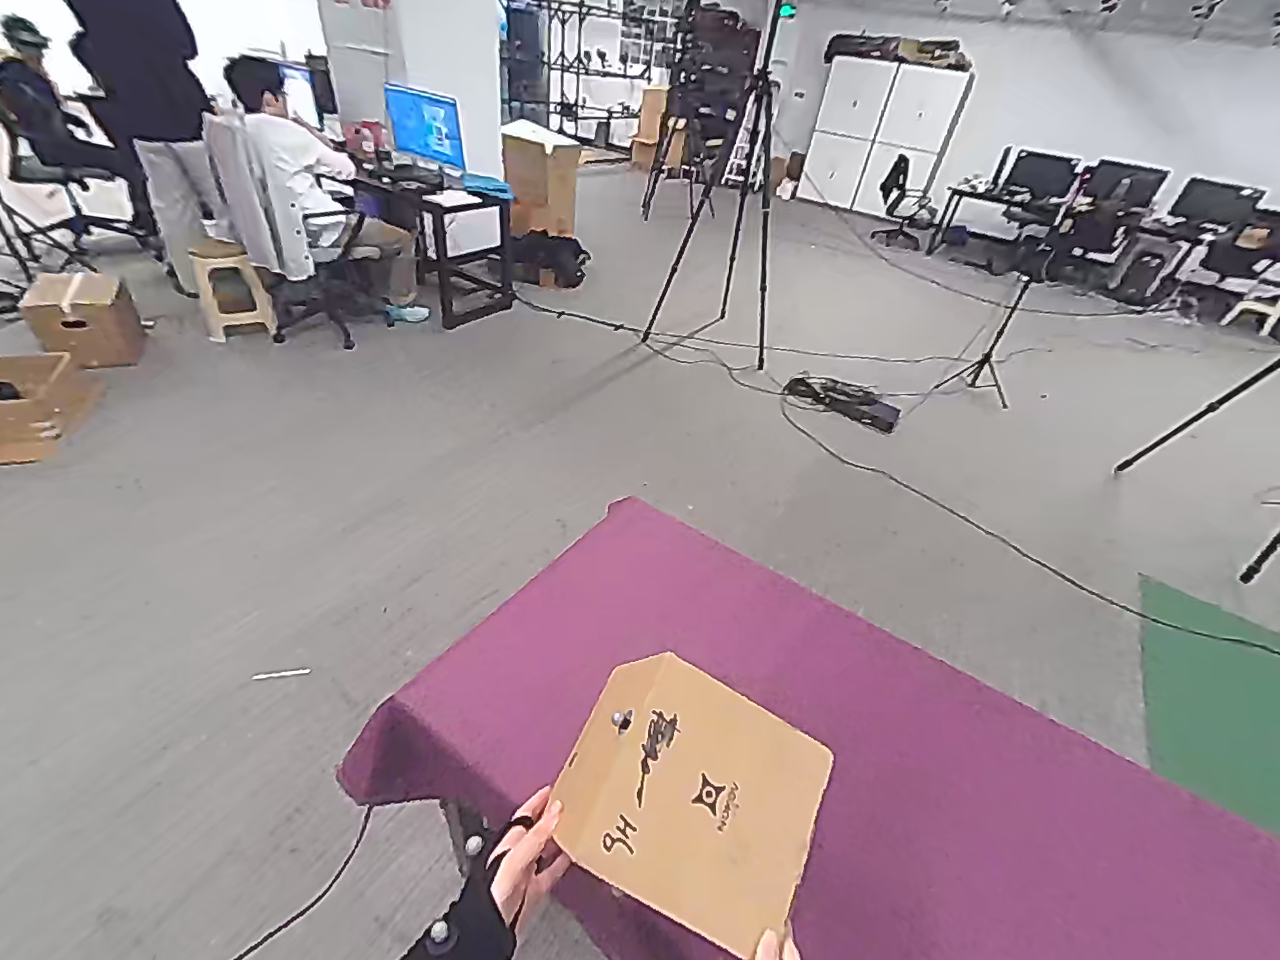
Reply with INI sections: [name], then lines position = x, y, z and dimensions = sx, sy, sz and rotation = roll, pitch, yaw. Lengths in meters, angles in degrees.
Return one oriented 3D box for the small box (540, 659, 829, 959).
[small box]
position = 0.032, 0.284, 0.493
dimensions = 0.179, 0.176, 0.168
rotation = 32, 60, -5
